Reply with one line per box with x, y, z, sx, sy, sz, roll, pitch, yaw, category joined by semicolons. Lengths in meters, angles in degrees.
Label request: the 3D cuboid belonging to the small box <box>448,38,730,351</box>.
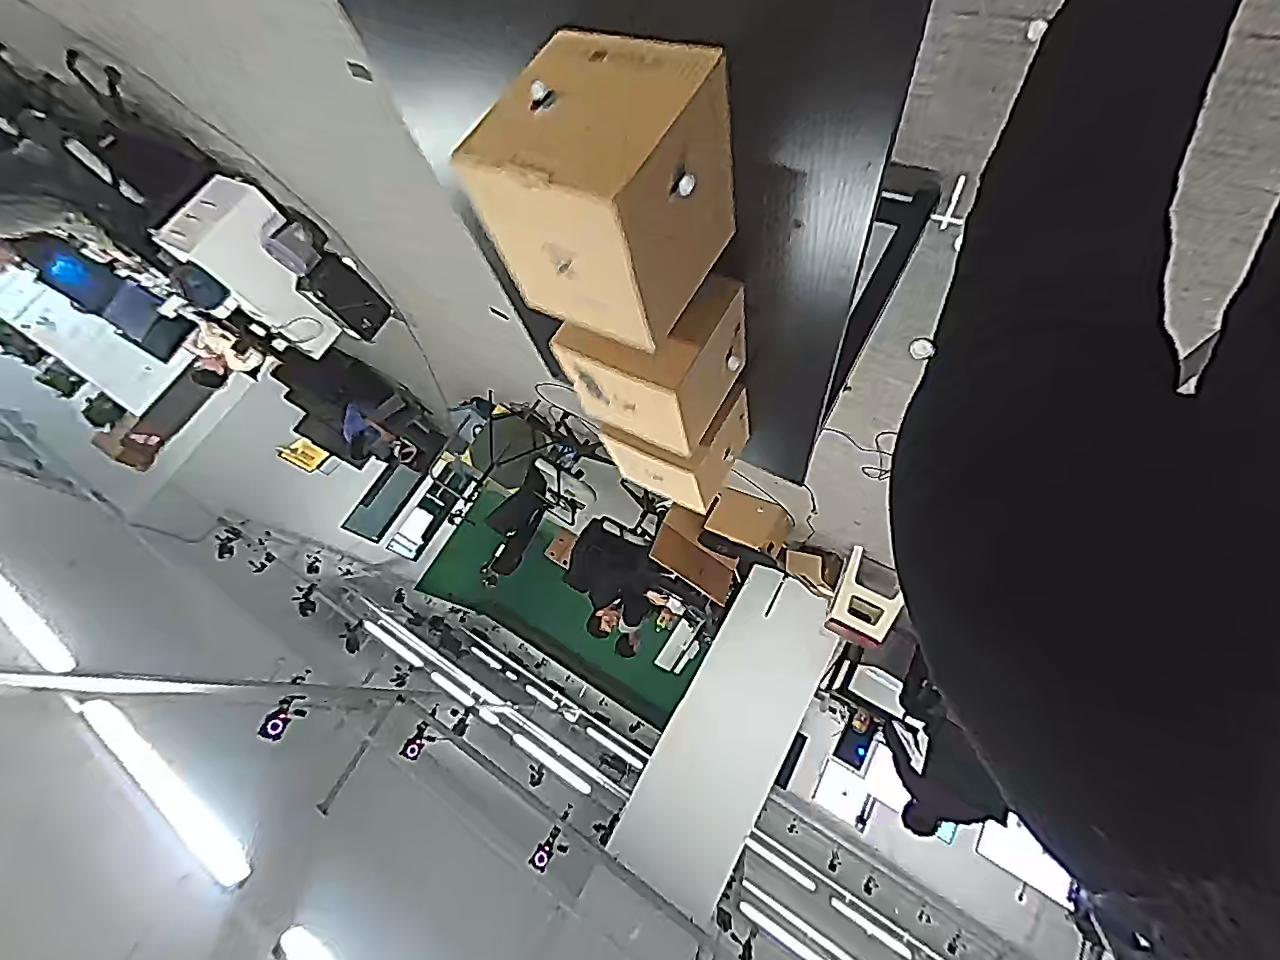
-0.030;-0.258;0.497;0.168;0.176;0.179;27;166;22;small box

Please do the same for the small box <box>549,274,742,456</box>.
0.017;-0.165;0.705;0.179;0.176;0.168;25;165;20;small box
